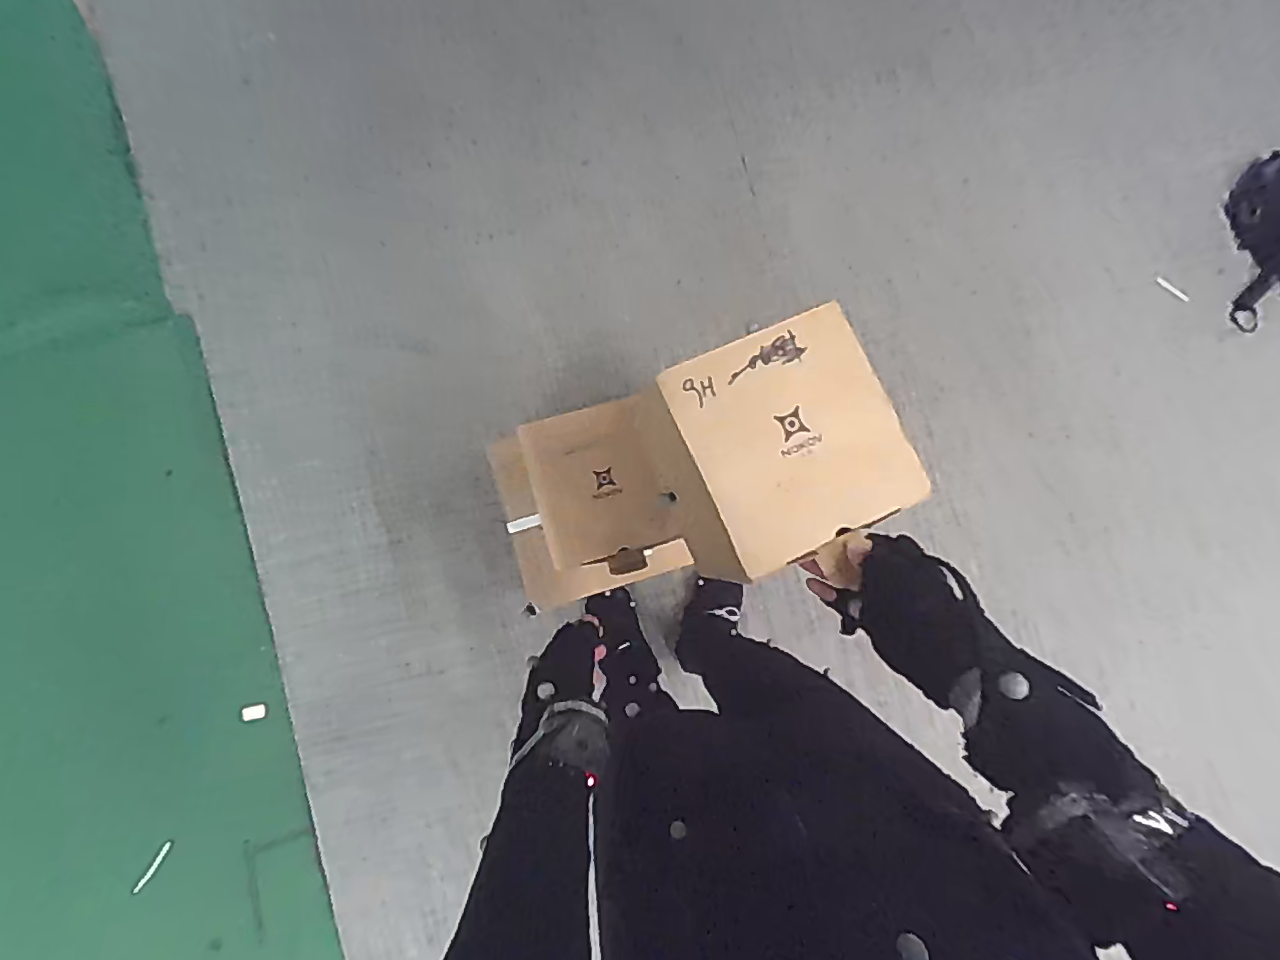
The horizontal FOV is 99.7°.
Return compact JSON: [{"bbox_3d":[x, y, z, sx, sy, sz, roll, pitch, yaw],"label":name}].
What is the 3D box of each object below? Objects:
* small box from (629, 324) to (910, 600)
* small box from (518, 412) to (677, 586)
[{"bbox_3d":[0.100,-0.009,0.502,0.168,0.176,0.179,-24,86,-9],"label":"small box"},{"bbox_3d":[-0.046,0.018,0.706,0.168,0.176,0.179,-16,91,-4],"label":"small box"}]
